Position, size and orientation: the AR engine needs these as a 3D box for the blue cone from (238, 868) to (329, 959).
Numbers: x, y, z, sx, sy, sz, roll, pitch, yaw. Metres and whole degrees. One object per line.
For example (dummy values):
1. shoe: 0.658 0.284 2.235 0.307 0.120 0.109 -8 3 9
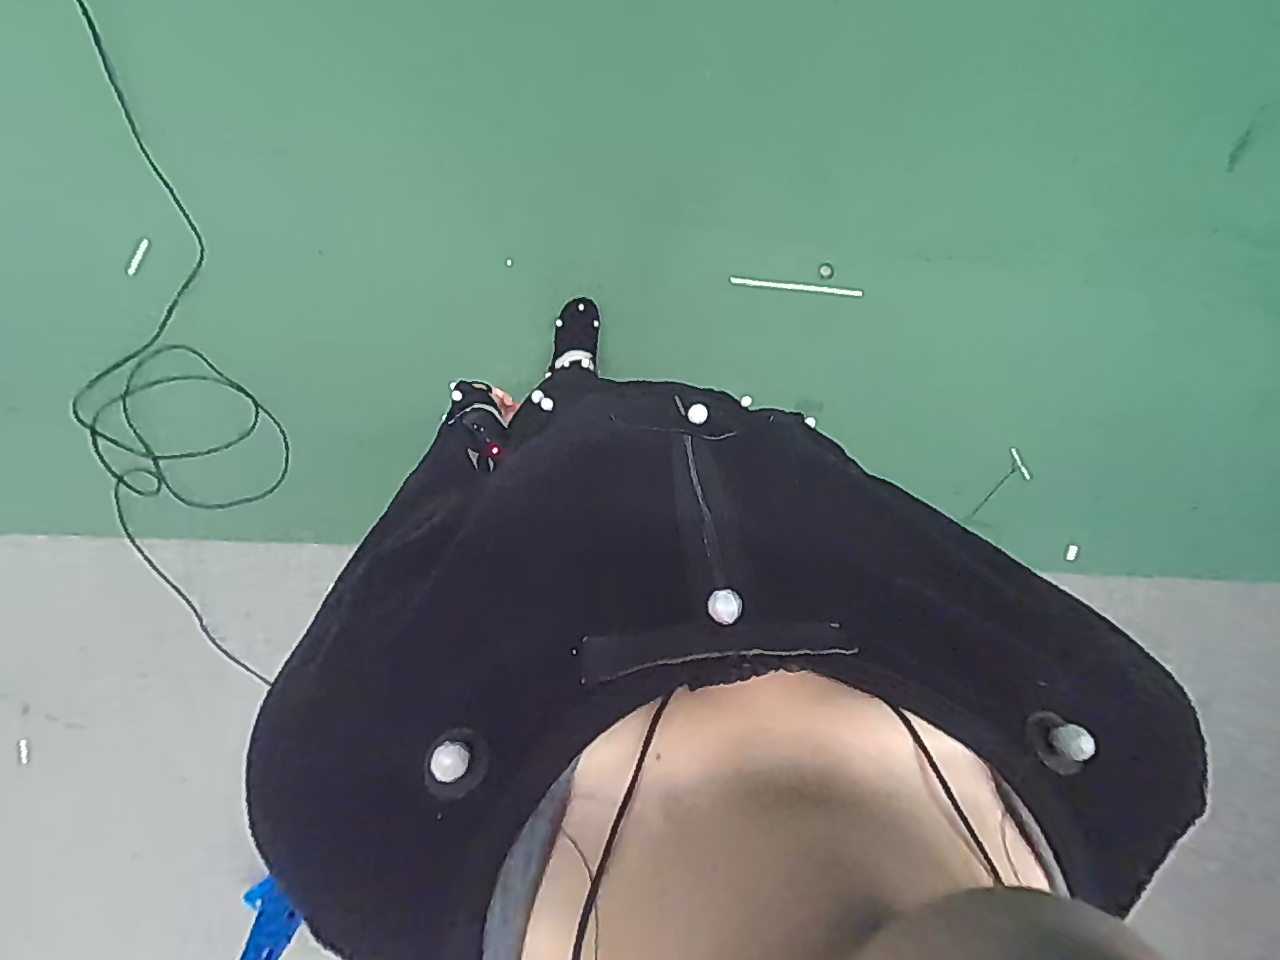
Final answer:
1. blue cone: -1.039 1.306 1.466 0.193 0.380 0.192 -39 105 4
